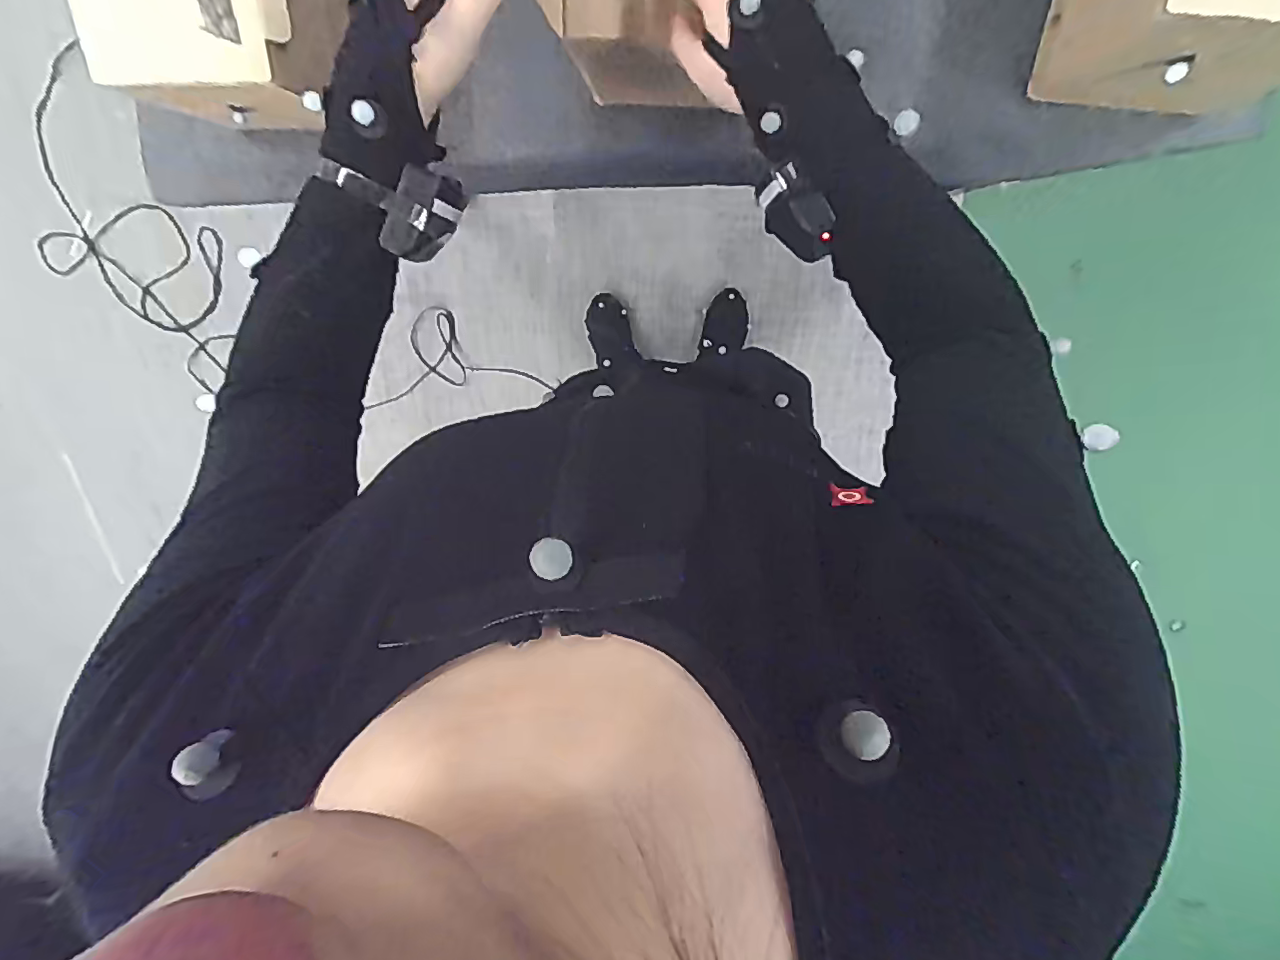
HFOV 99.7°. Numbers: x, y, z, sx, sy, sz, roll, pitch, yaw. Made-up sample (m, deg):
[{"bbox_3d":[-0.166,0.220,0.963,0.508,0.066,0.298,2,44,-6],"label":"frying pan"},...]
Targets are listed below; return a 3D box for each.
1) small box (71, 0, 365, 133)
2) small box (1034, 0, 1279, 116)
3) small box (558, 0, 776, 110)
[{"bbox_3d":[-0.394,-0.451,0.524,0.179,0.176,0.168,3,112,5],"label":"small box"},{"bbox_3d":[0.479,-0.426,0.446,0.179,0.176,0.168,8,108,3],"label":"small box"},{"bbox_3d":[0.031,-0.453,0.486,0.179,0.176,0.168,4,110,4],"label":"small box"}]
